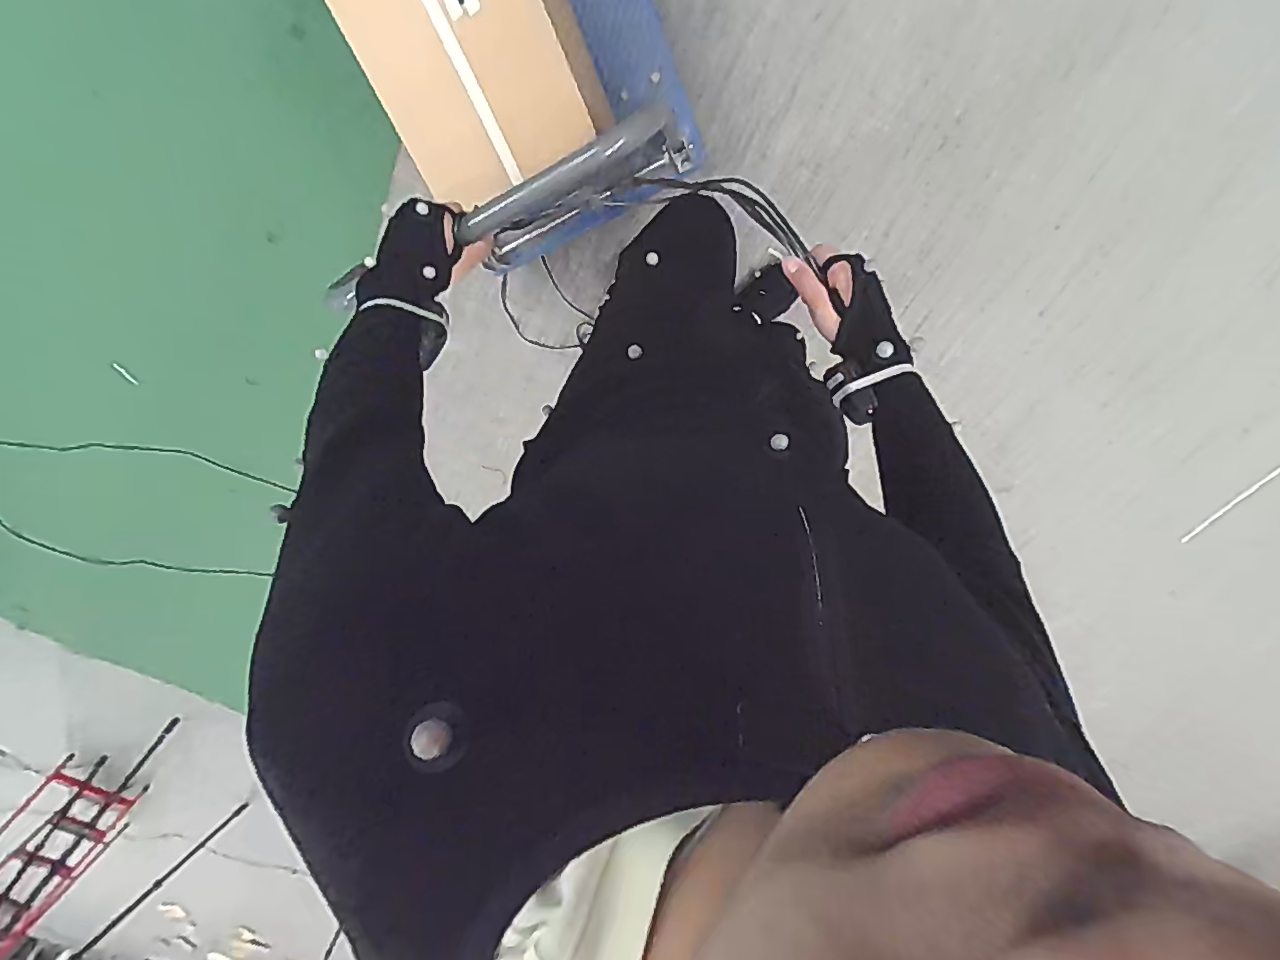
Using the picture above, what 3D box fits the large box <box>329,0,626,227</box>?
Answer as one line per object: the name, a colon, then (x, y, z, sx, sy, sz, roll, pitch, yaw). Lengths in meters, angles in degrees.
large box: (-0.263, -0.739, 0.994, 0.320, 0.320, 0.408, -19, 115, 17)
